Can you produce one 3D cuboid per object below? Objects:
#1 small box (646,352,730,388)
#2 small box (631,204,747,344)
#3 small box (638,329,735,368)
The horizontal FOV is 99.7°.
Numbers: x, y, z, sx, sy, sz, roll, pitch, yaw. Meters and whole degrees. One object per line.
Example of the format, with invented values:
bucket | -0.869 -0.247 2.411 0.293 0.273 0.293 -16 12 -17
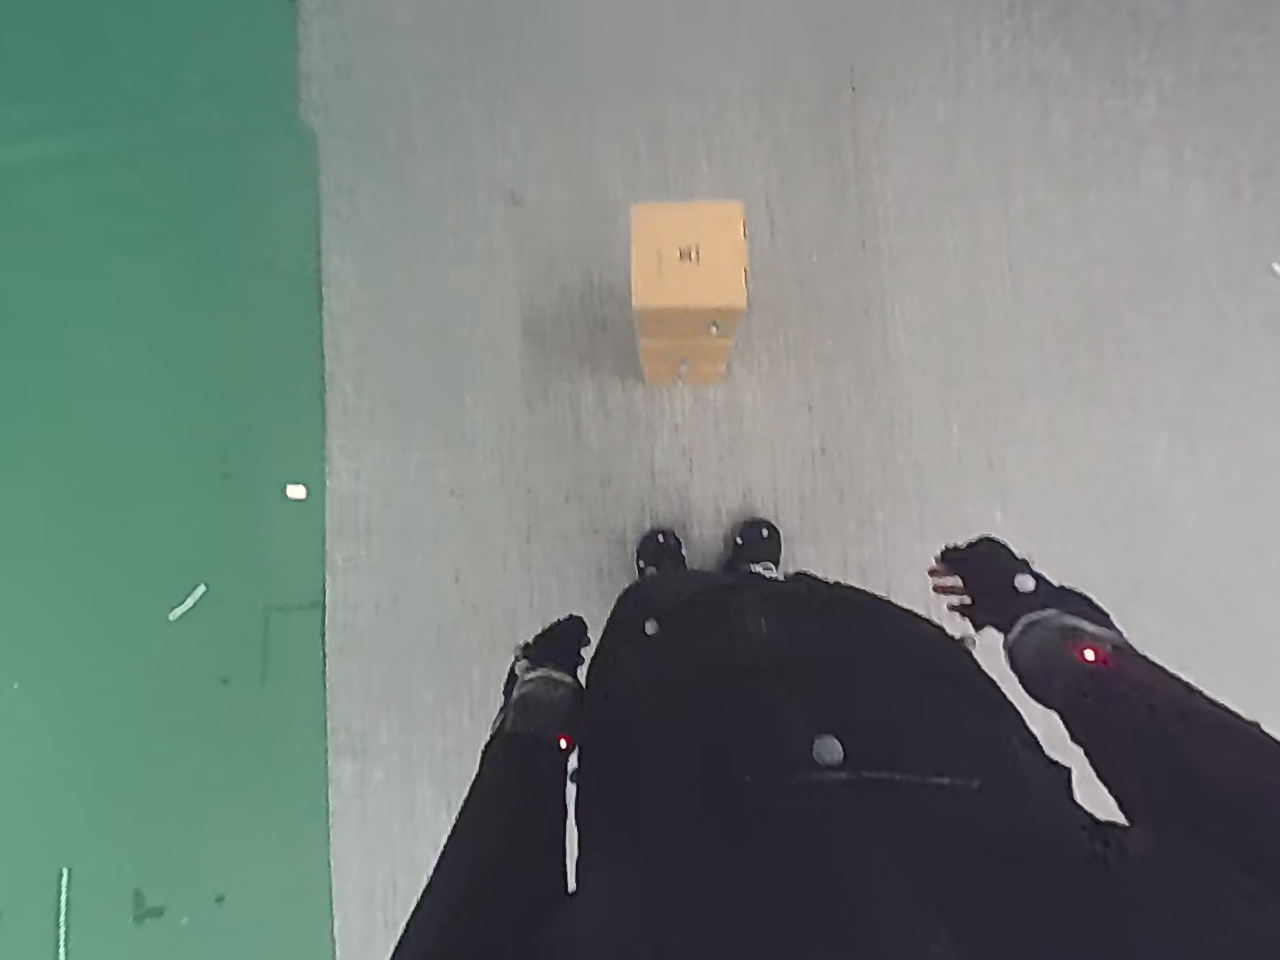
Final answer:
small box | 0.100 -0.308 1.220 0.179 0.176 0.168 -3 88 2
small box | 0.077 -0.331 0.896 0.179 0.176 0.168 -1 87 4
small box | 0.088 -0.321 1.057 0.179 0.176 0.168 1 88 2
